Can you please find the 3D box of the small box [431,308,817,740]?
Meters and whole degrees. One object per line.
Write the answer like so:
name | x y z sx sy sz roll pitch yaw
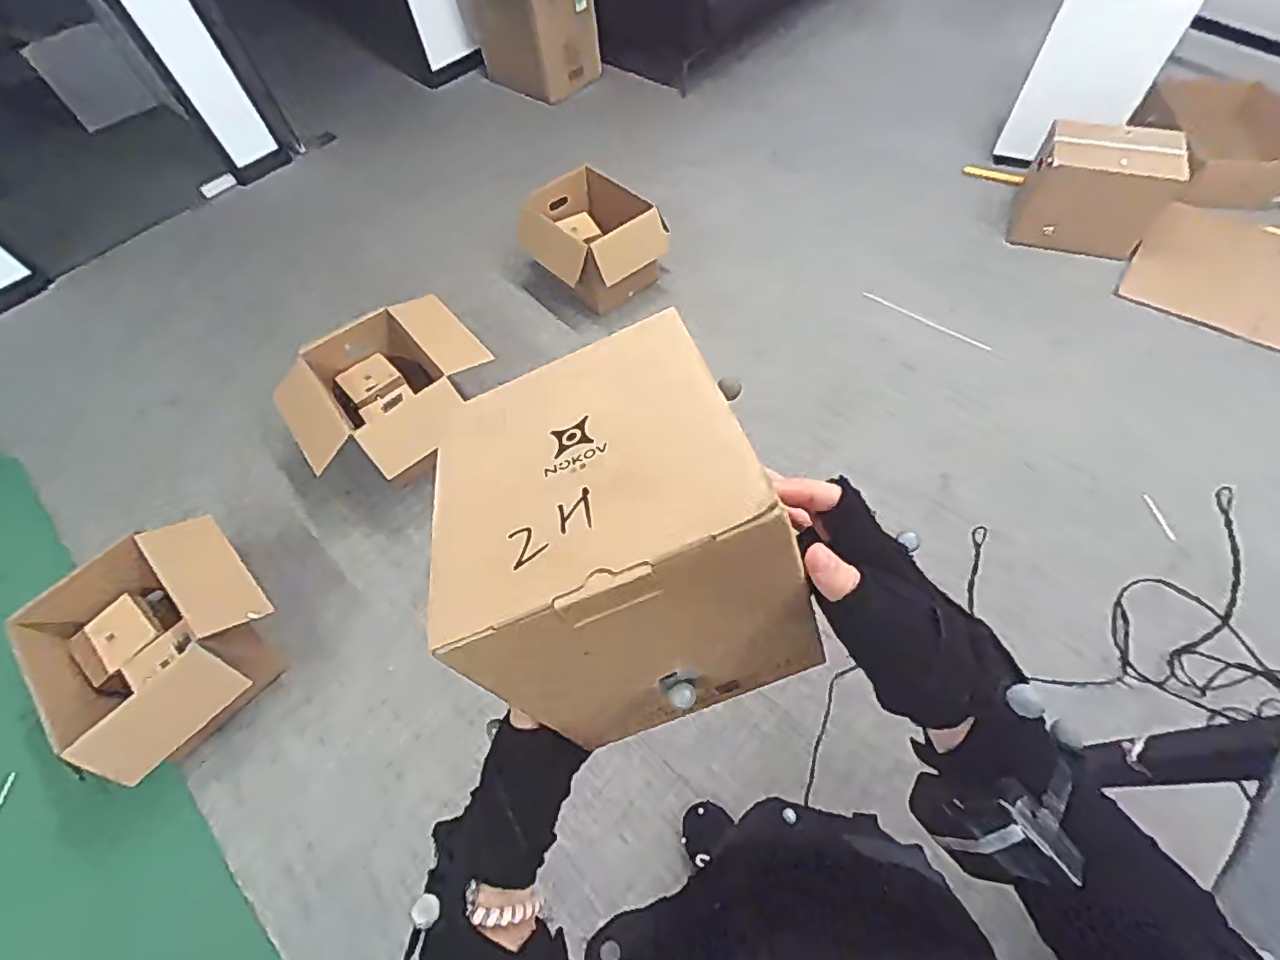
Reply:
small box | -0.005 0.032 0.339 0.168 0.176 0.179 -22 47 6
